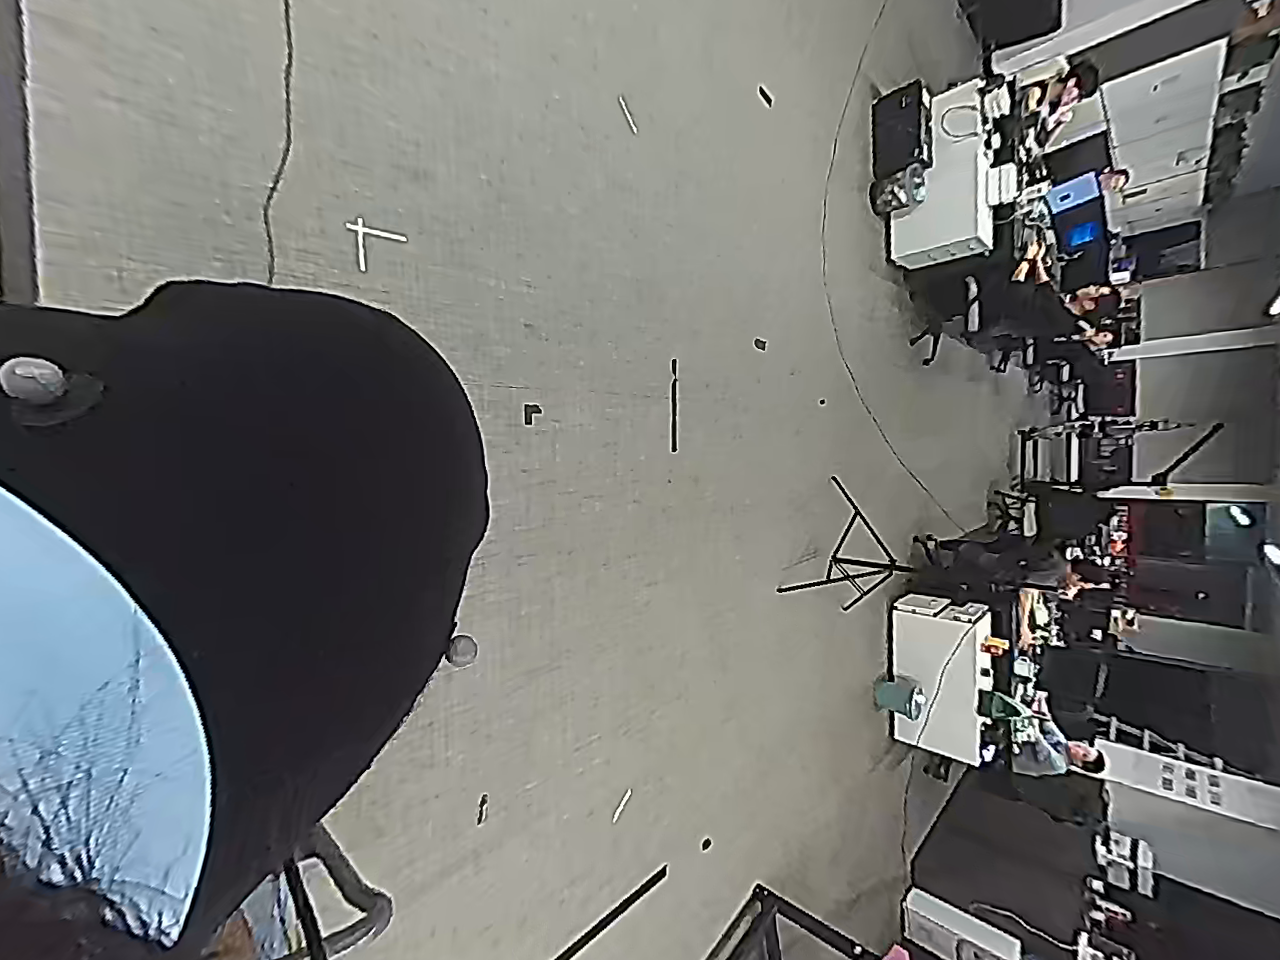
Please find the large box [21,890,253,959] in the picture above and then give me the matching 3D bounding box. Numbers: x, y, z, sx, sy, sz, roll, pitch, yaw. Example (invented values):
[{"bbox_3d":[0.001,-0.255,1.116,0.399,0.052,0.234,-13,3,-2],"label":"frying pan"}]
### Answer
[{"bbox_3d":[-0.886,0.955,0.843,0.408,0.320,0.320,11,84,-47],"label":"large box"}]
